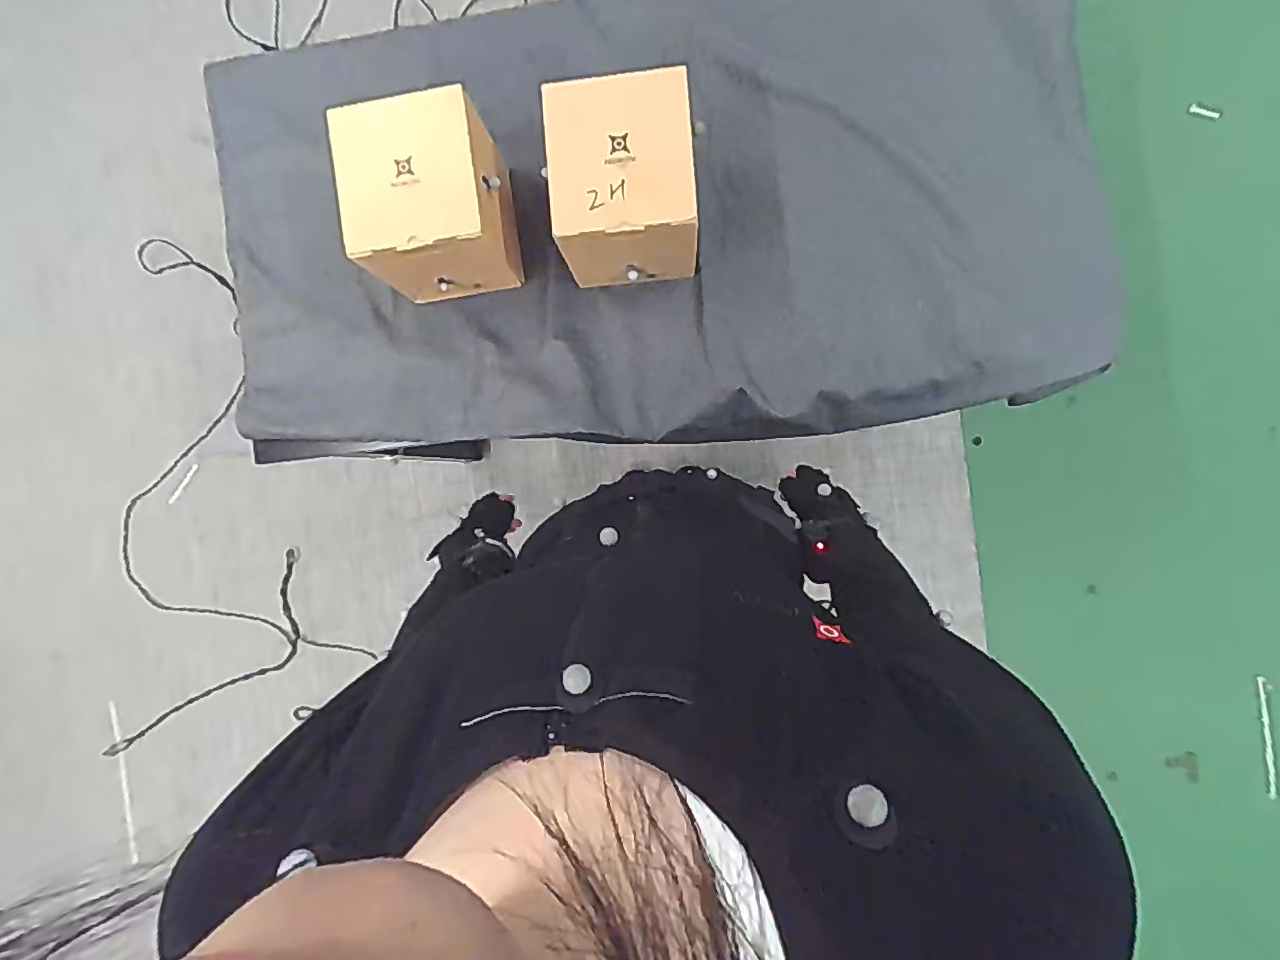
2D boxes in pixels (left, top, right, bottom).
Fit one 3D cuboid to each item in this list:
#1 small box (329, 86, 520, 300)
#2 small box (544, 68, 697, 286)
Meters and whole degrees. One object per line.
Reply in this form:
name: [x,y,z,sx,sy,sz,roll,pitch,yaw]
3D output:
small box: [-0.265,-0.355,0.701,0.168,0.176,0.179,-8,91,4]
small box: [-0.018,-0.366,0.681,0.168,0.176,0.179,-4,91,4]
